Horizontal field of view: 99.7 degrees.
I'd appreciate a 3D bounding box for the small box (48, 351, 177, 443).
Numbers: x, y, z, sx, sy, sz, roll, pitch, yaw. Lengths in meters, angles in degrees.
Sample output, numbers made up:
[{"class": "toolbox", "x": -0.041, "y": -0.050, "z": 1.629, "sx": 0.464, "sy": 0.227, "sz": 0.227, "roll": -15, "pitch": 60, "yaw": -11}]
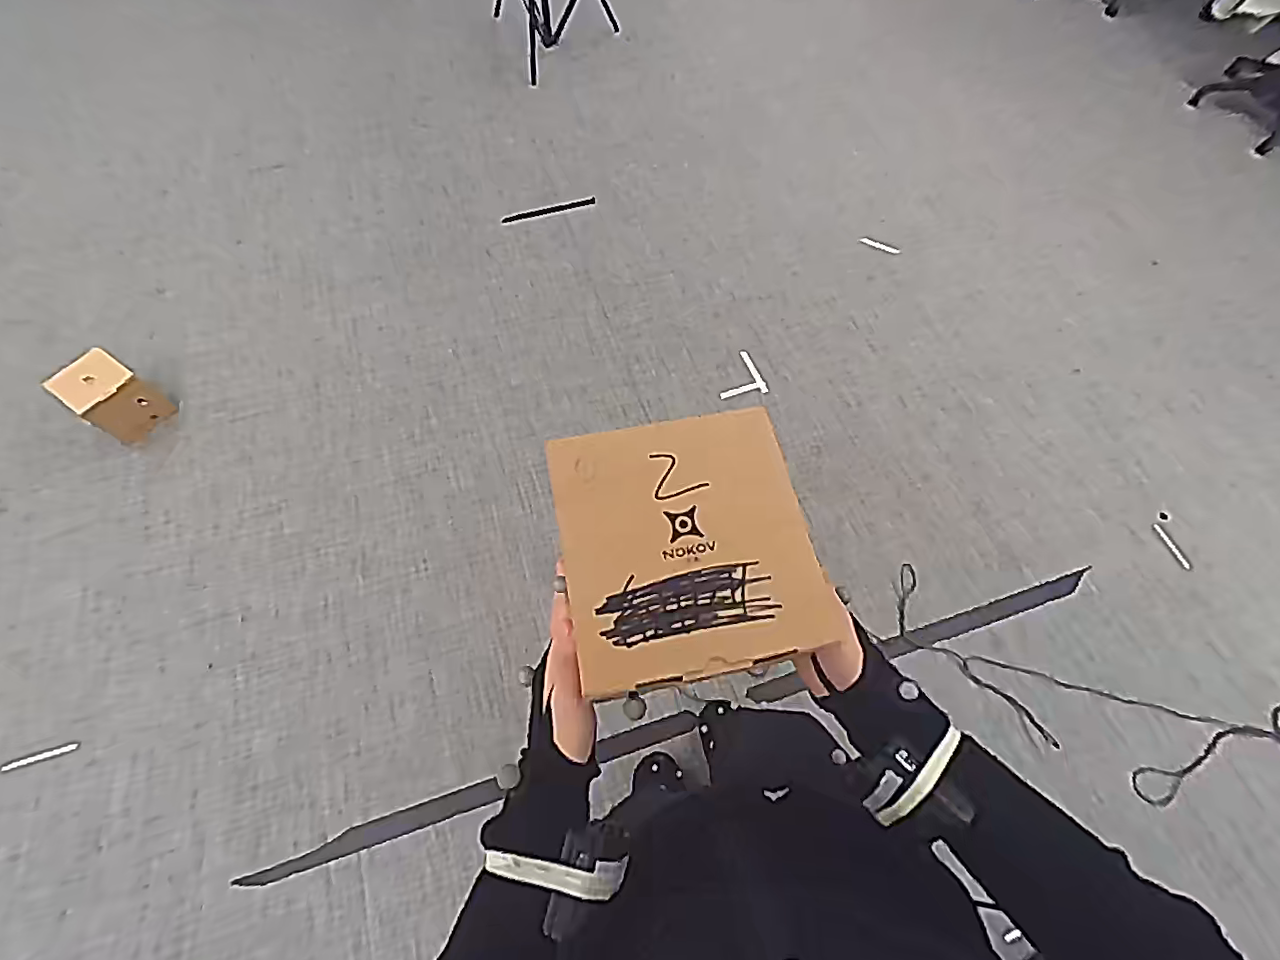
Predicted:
[{"class": "small box", "x": -1.513, "y": -0.231, "z": 1.566, "sx": 0.179, "sy": 0.176, "sz": 0.168, "roll": 31, "pitch": 66, "yaw": 14}]
